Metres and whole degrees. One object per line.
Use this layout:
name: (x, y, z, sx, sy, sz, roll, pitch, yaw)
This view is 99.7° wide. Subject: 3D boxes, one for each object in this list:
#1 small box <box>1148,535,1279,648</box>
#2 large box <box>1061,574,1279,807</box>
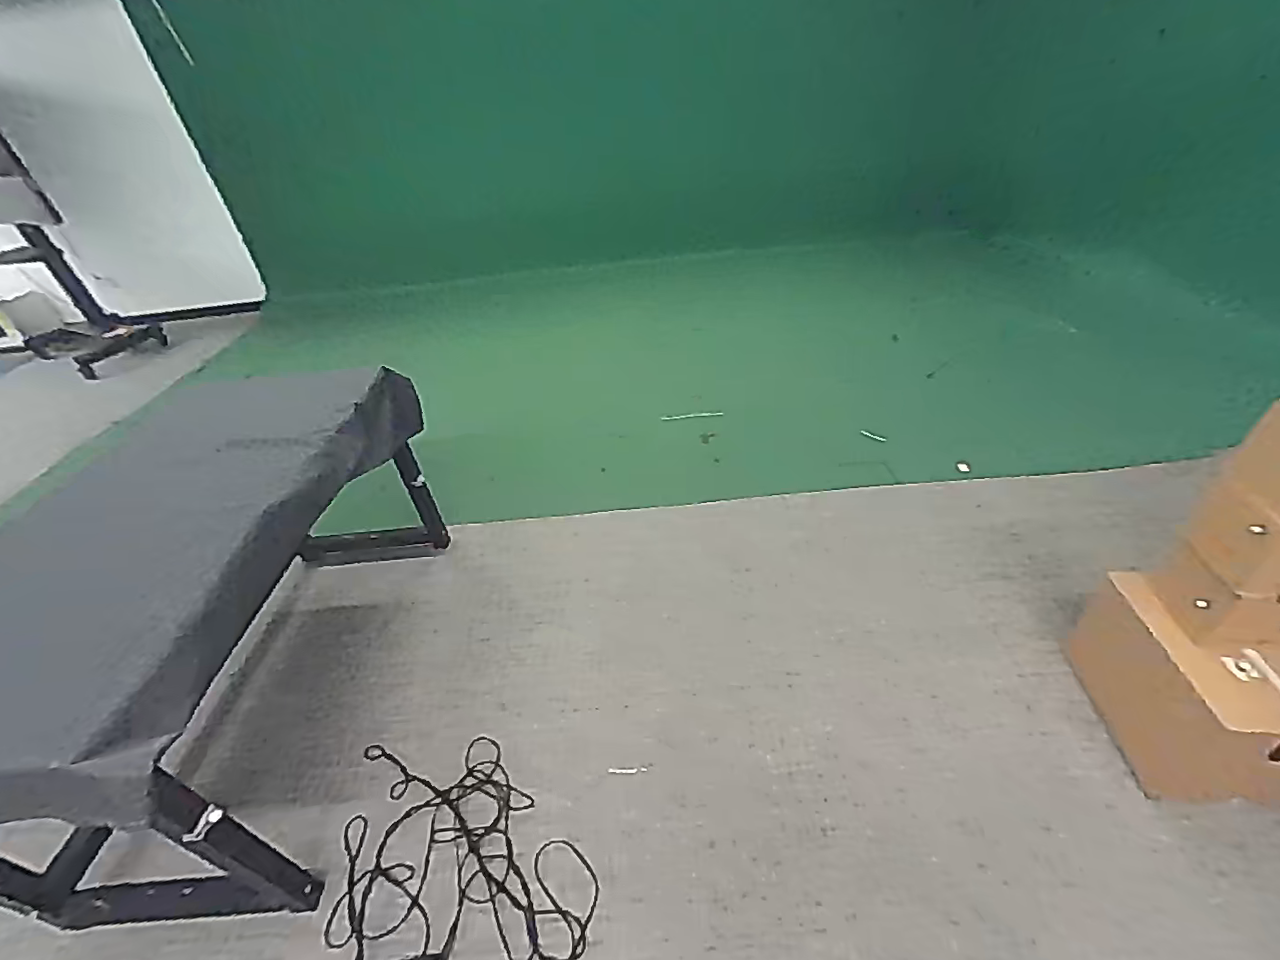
small box: (1.250, 0.235, 1.141, 0.168, 0.176, 0.179, 0, 37, 7)
large box: (1.280, 0.468, 1.234, 0.320, 0.320, 0.408, -2, 39, 8)
